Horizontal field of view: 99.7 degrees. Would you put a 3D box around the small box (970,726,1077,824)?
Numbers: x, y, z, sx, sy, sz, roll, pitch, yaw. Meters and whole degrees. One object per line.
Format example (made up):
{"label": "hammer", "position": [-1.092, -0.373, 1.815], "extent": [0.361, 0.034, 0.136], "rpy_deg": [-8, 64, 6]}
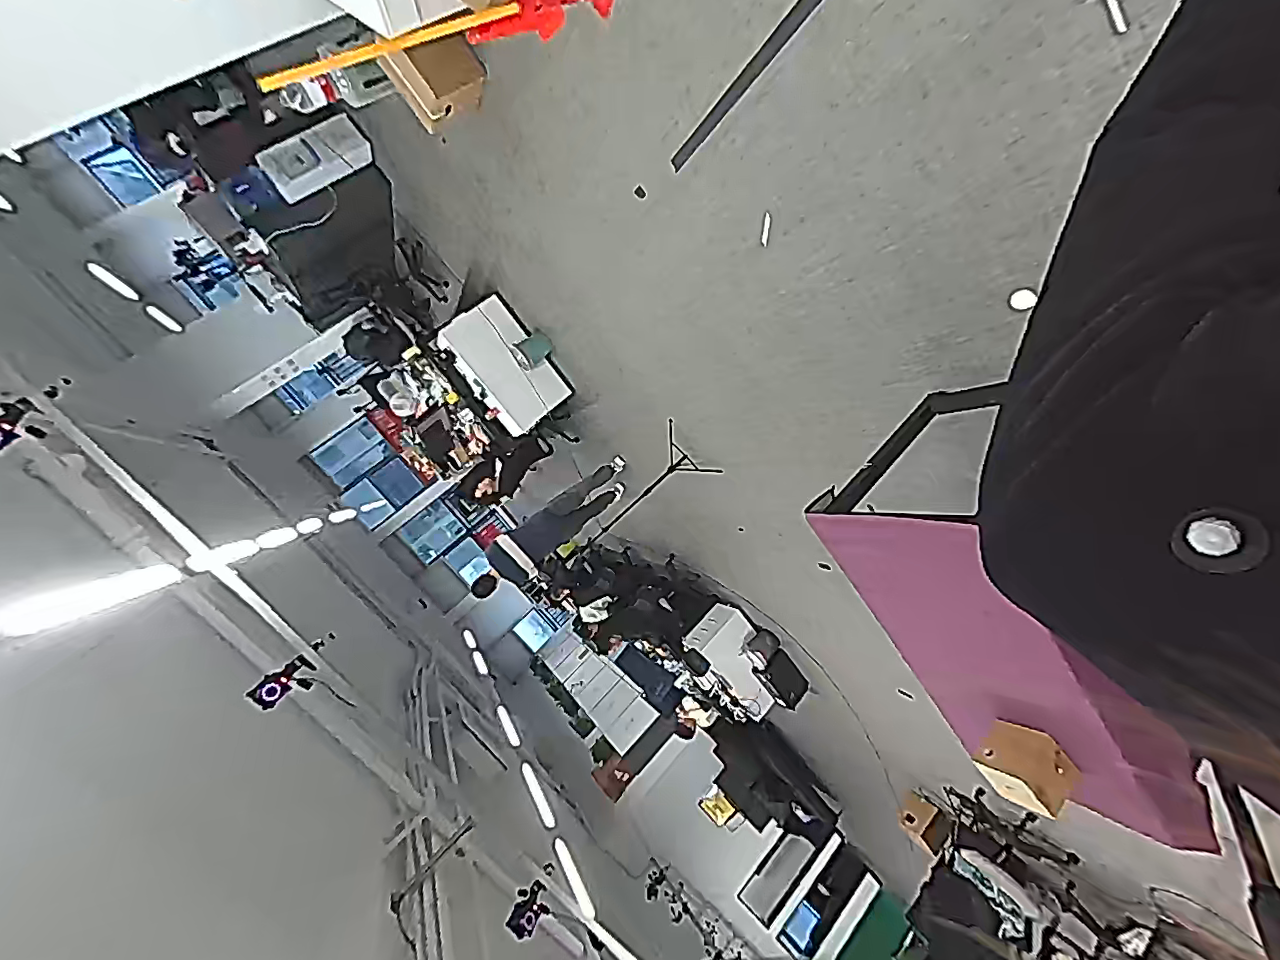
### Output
{"label": "small box", "position": [1.164, 0.883, 1.641], "extent": [0.168, 0.176, 0.179], "rpy_deg": [49, 161, -5]}
